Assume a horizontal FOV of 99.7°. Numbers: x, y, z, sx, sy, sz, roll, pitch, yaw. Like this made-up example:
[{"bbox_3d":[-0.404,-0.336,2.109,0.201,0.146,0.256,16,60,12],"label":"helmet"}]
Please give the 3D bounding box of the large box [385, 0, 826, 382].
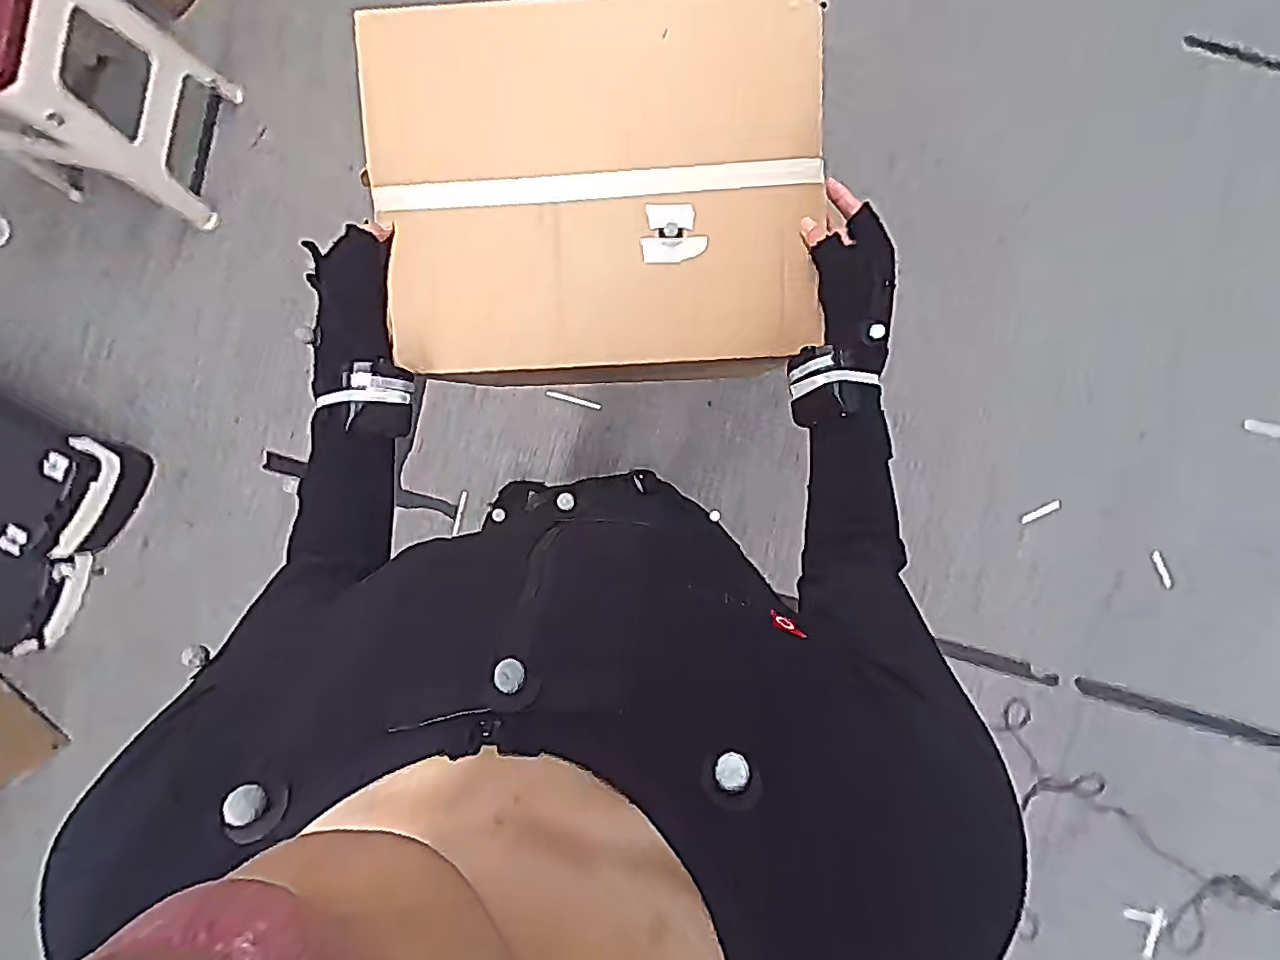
[{"bbox_3d":[-0.026,-0.289,0.649,0.408,0.320,0.320,-2,98,1],"label":"large box"}]
